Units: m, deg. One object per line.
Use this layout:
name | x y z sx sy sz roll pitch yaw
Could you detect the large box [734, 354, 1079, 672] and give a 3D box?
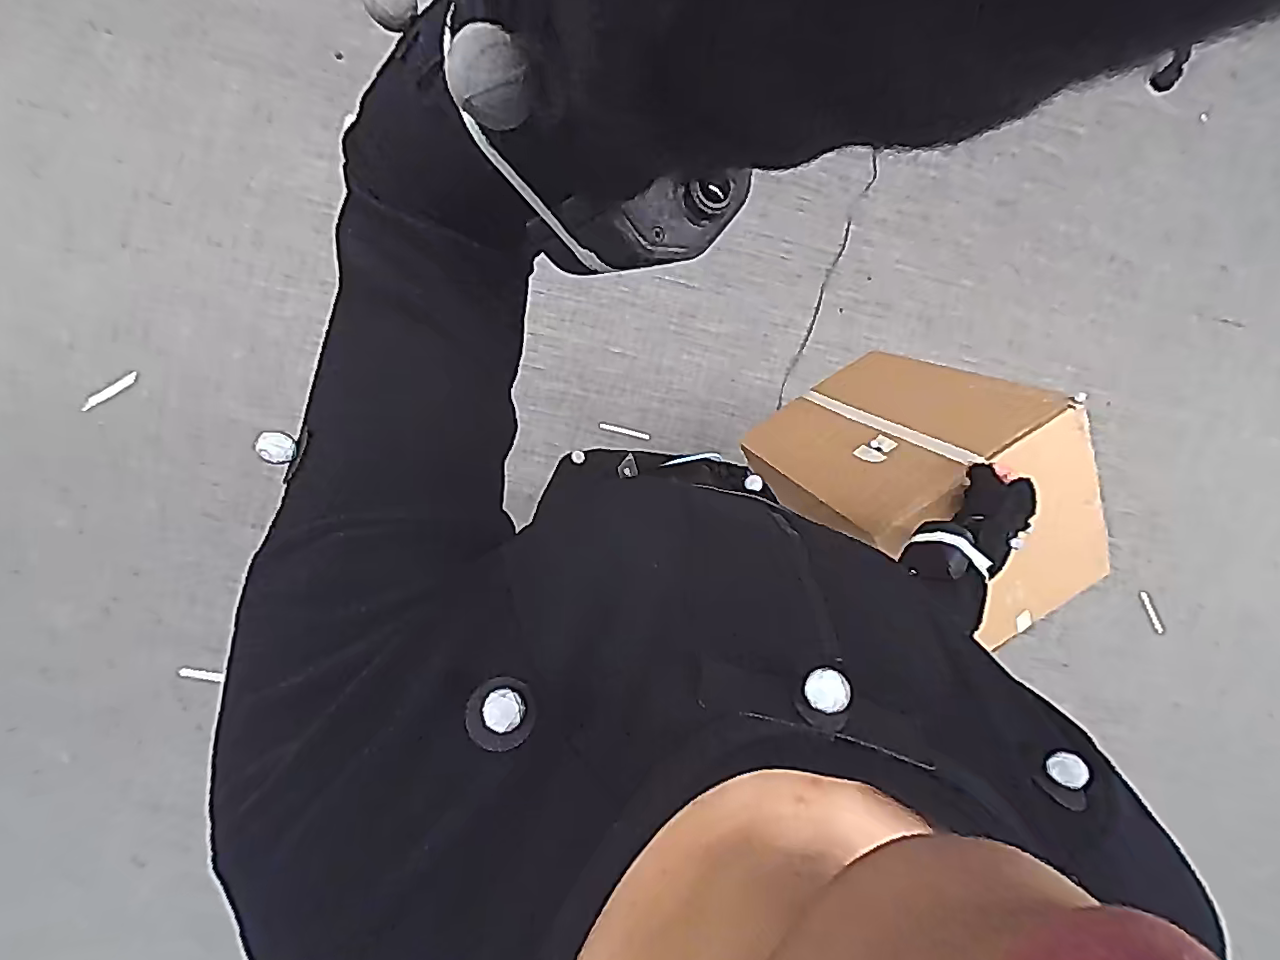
large box | 0.423 0.027 0.918 0.320 0.408 0.320 -33 118 -1
